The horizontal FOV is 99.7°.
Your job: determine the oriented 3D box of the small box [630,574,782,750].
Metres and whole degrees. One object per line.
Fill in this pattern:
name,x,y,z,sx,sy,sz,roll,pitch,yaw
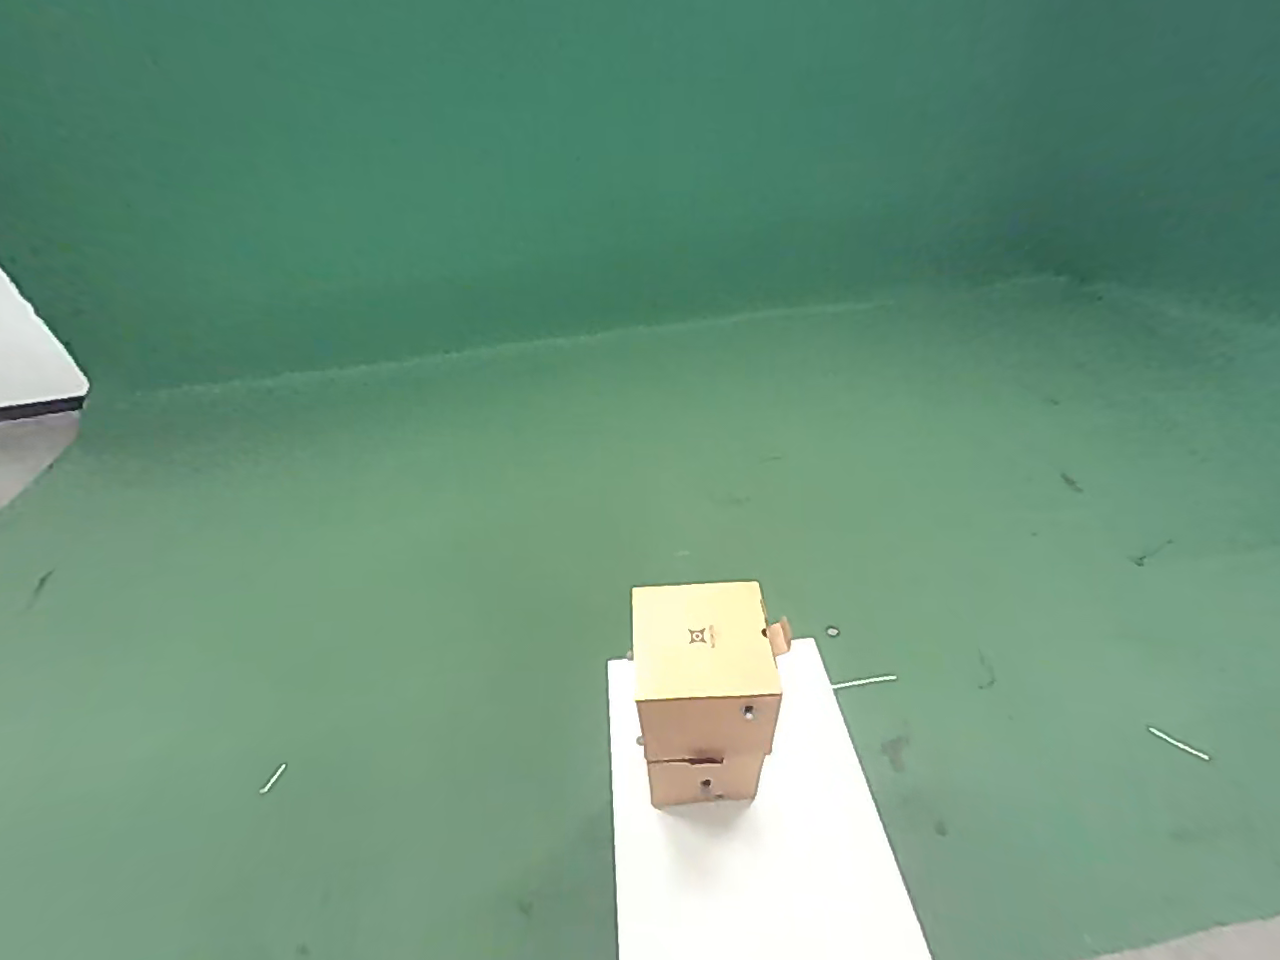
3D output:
small box,0.081,0.247,0.728,0.179,0.176,0.168,-3,41,1

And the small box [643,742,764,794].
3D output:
small box,0.088,0.367,0.838,0.168,0.176,0.179,-5,42,-1
